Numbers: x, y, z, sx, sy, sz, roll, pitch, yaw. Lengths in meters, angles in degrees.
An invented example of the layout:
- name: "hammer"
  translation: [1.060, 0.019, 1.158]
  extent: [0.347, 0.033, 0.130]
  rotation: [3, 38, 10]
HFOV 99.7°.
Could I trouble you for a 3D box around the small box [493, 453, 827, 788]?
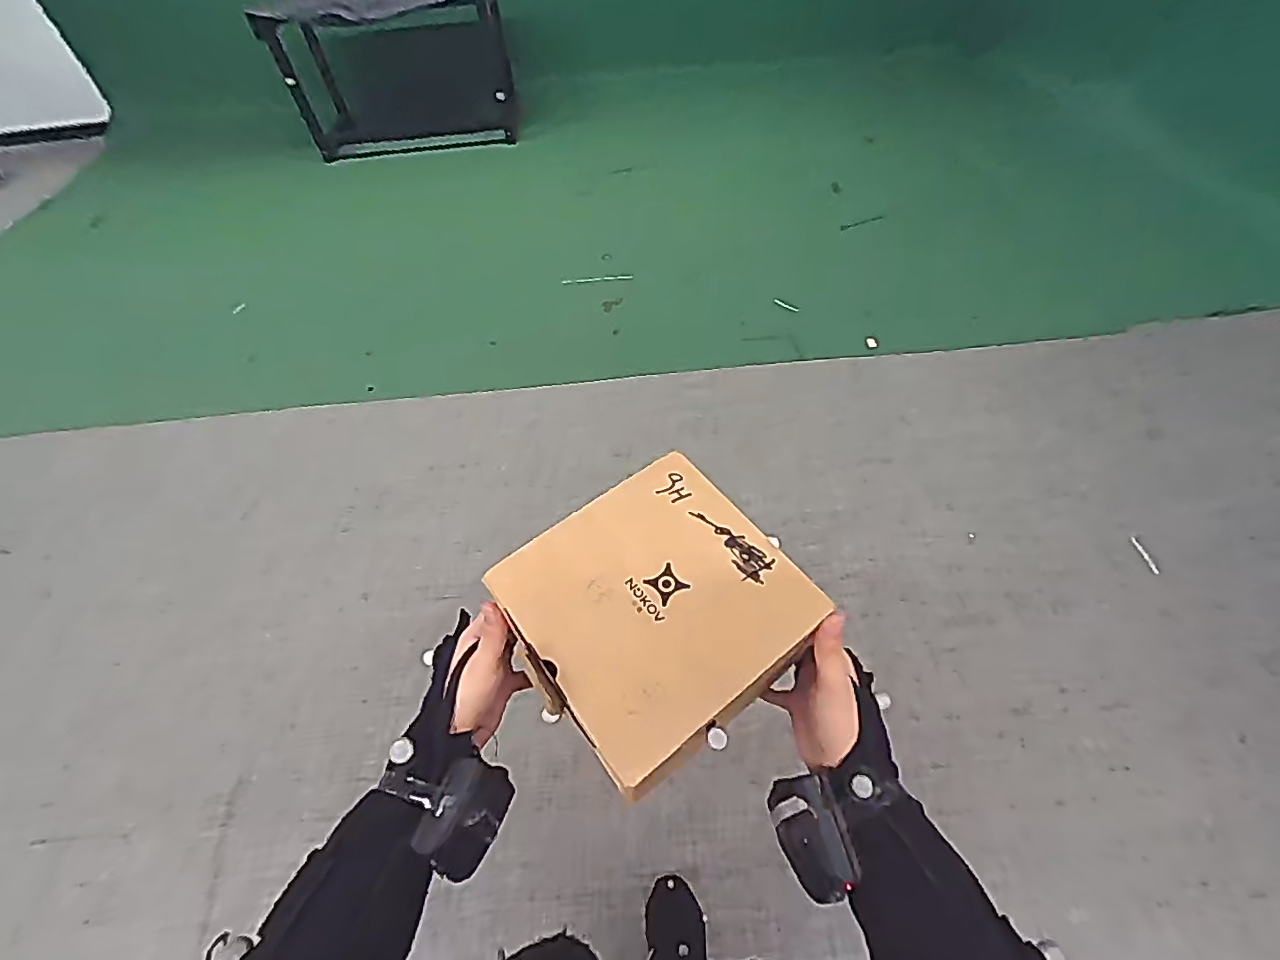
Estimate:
- name: "small box"
  translation: [0.013, 0.119, 0.437]
  extent: [0.179, 0.176, 0.168]
  rotation: [-33, 62, -19]
